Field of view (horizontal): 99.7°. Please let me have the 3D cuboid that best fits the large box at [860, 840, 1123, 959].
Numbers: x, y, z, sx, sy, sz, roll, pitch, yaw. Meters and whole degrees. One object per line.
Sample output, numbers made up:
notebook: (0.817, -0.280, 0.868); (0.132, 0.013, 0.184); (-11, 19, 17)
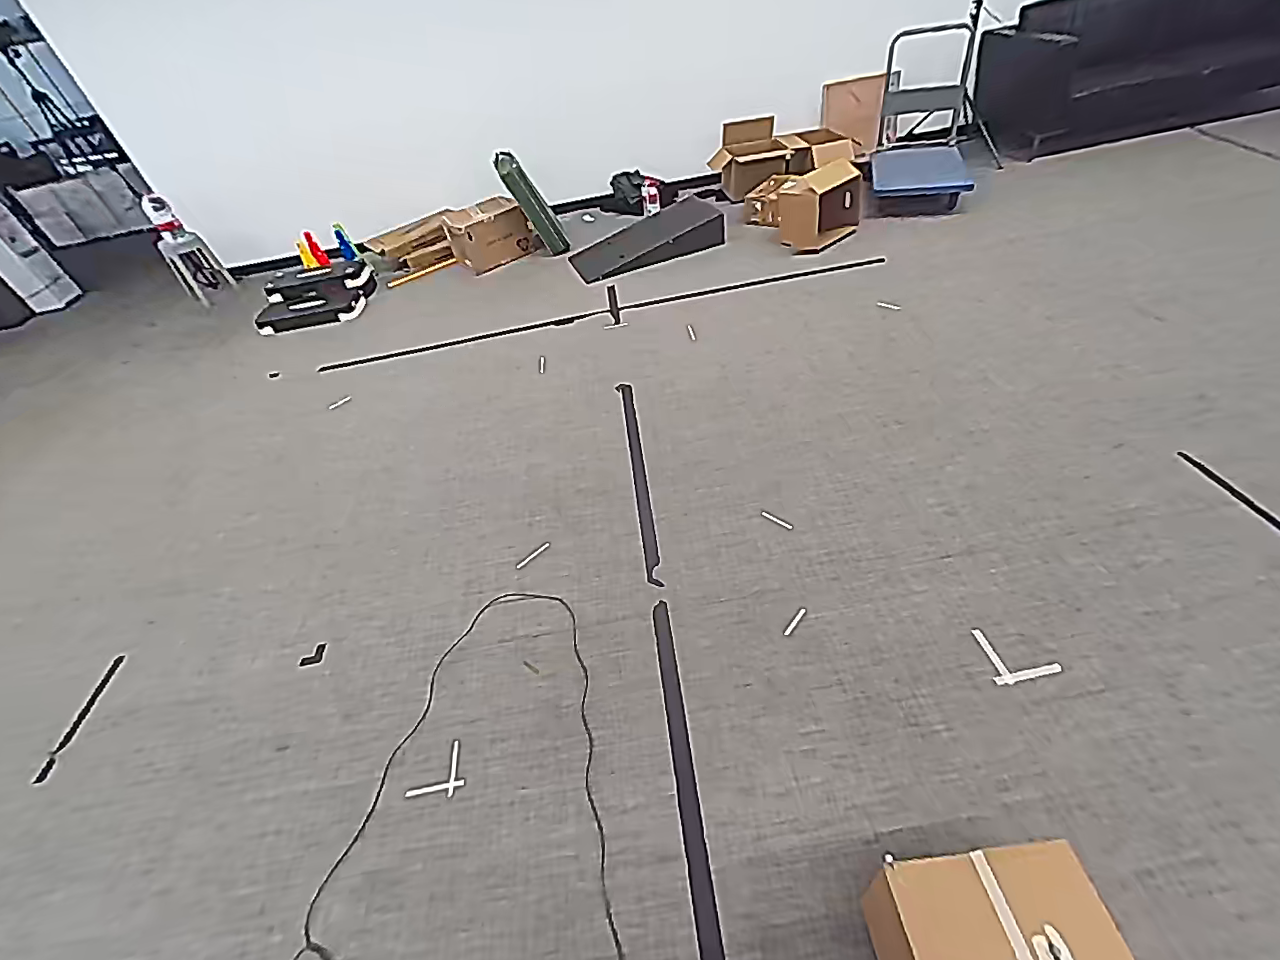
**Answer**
large box: (0.604, 0.886, 0.888); (0.320, 0.320, 0.408); (-8, 42, 1)
